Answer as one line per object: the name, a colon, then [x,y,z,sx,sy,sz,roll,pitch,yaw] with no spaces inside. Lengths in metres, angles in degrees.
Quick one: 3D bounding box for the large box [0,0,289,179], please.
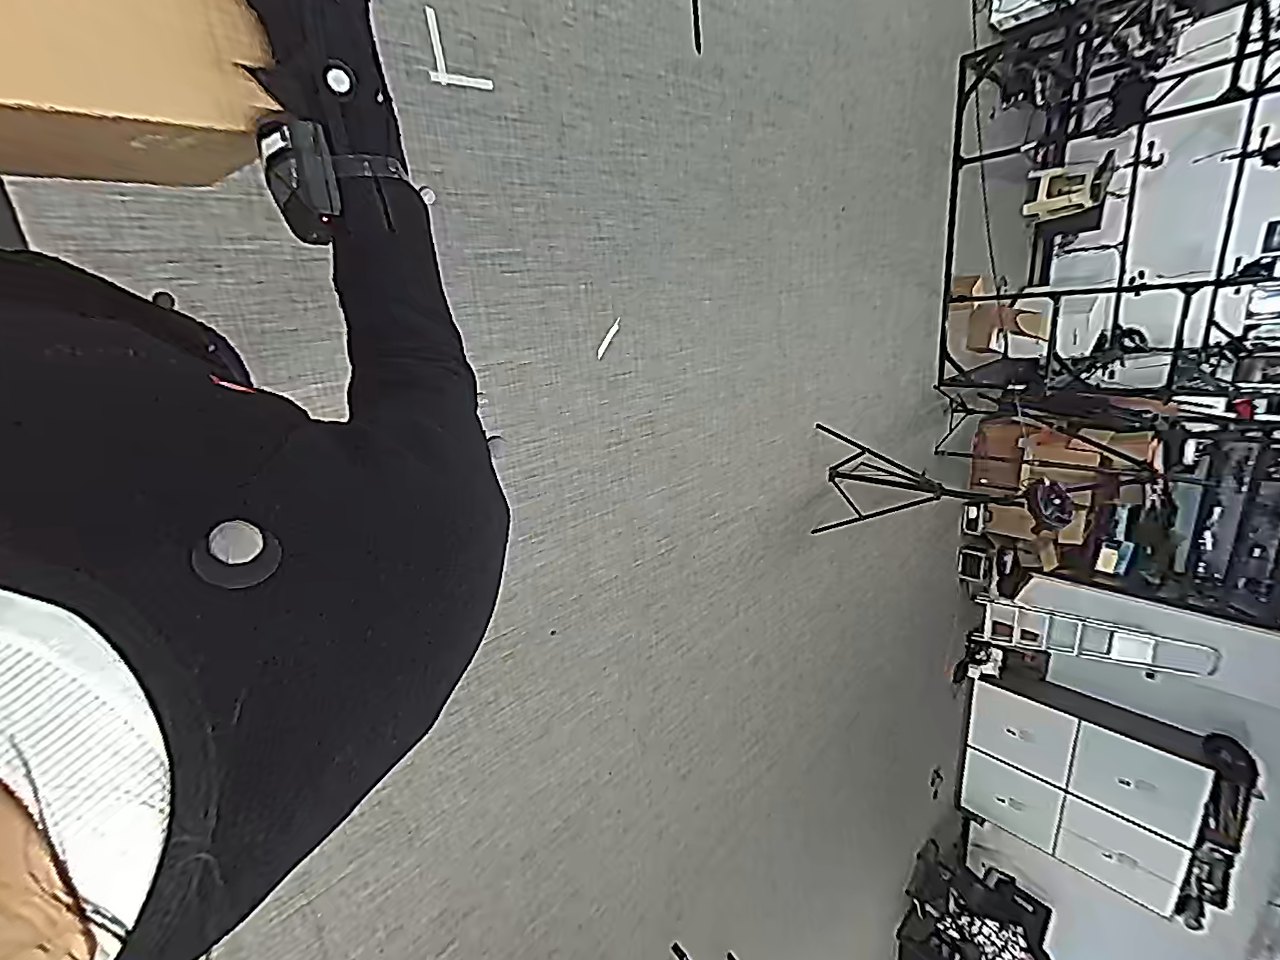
large box: [-0.496,-0.363,0.290,0.408,0.320,0.320,-23,121,-42]
